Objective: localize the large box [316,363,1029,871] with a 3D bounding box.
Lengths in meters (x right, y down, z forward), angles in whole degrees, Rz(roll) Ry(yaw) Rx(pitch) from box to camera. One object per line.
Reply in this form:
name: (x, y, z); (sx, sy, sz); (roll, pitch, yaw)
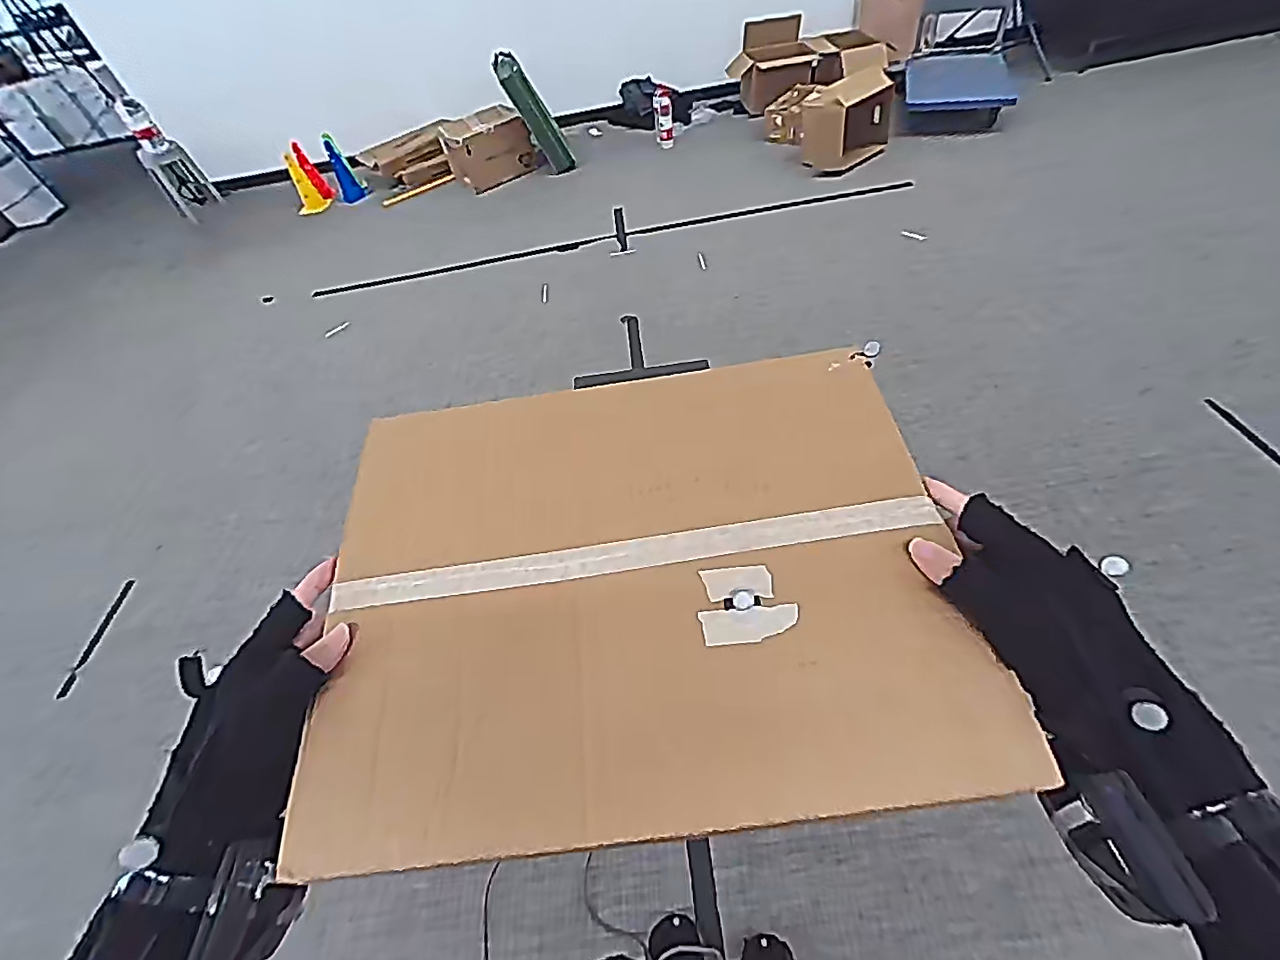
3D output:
large box: (0.012, 0.137, 0.498); (0.408, 0.320, 0.320); (-8, 57, 1)
